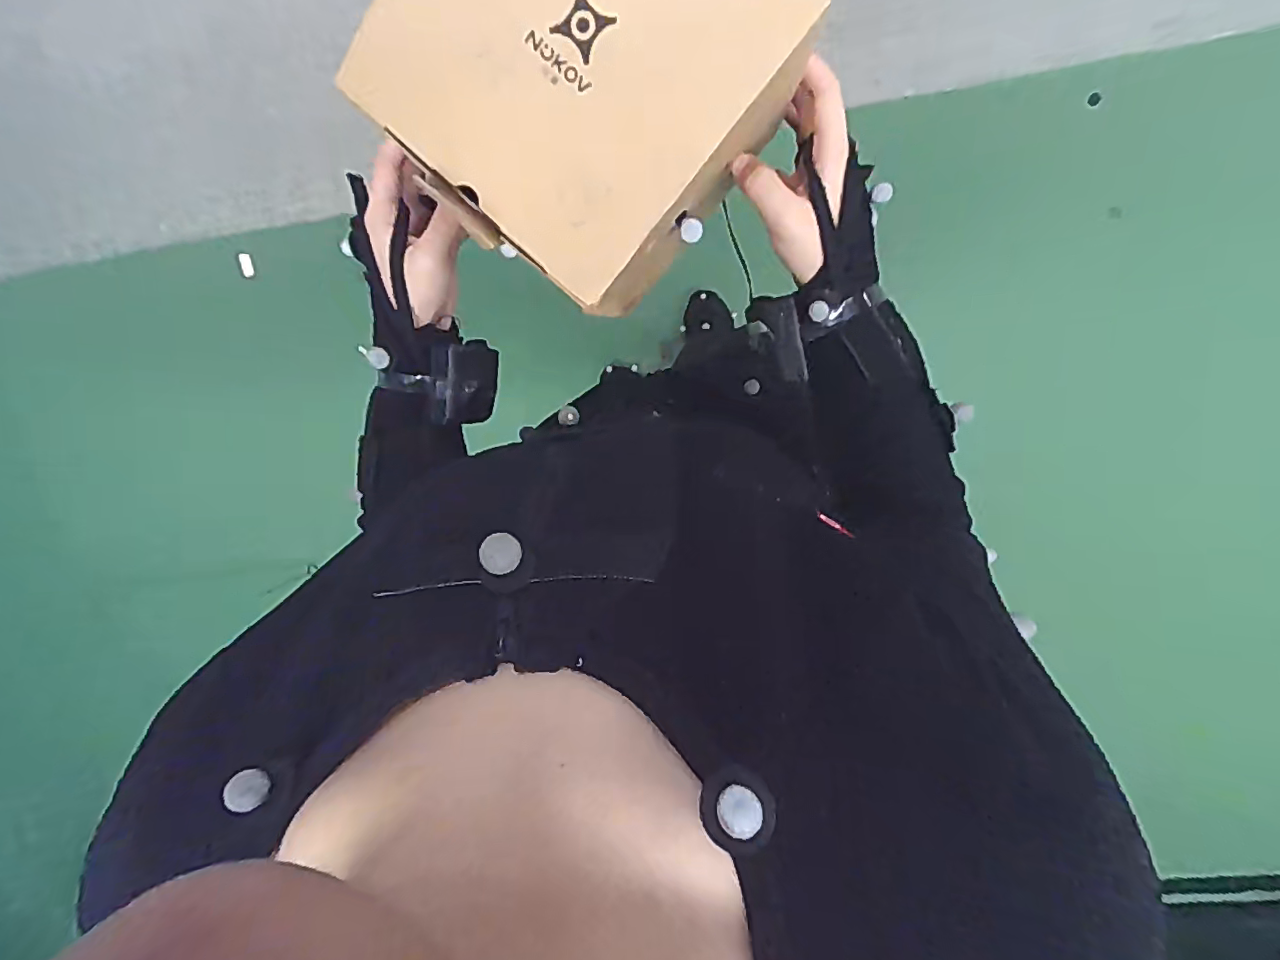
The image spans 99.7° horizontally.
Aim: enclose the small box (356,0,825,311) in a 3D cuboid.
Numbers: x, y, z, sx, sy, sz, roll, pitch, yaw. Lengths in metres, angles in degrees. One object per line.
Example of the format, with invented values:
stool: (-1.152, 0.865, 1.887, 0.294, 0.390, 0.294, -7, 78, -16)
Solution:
small box: (-0.021, -0.223, 0.334, 0.168, 0.176, 0.179, 41, 106, -6)
